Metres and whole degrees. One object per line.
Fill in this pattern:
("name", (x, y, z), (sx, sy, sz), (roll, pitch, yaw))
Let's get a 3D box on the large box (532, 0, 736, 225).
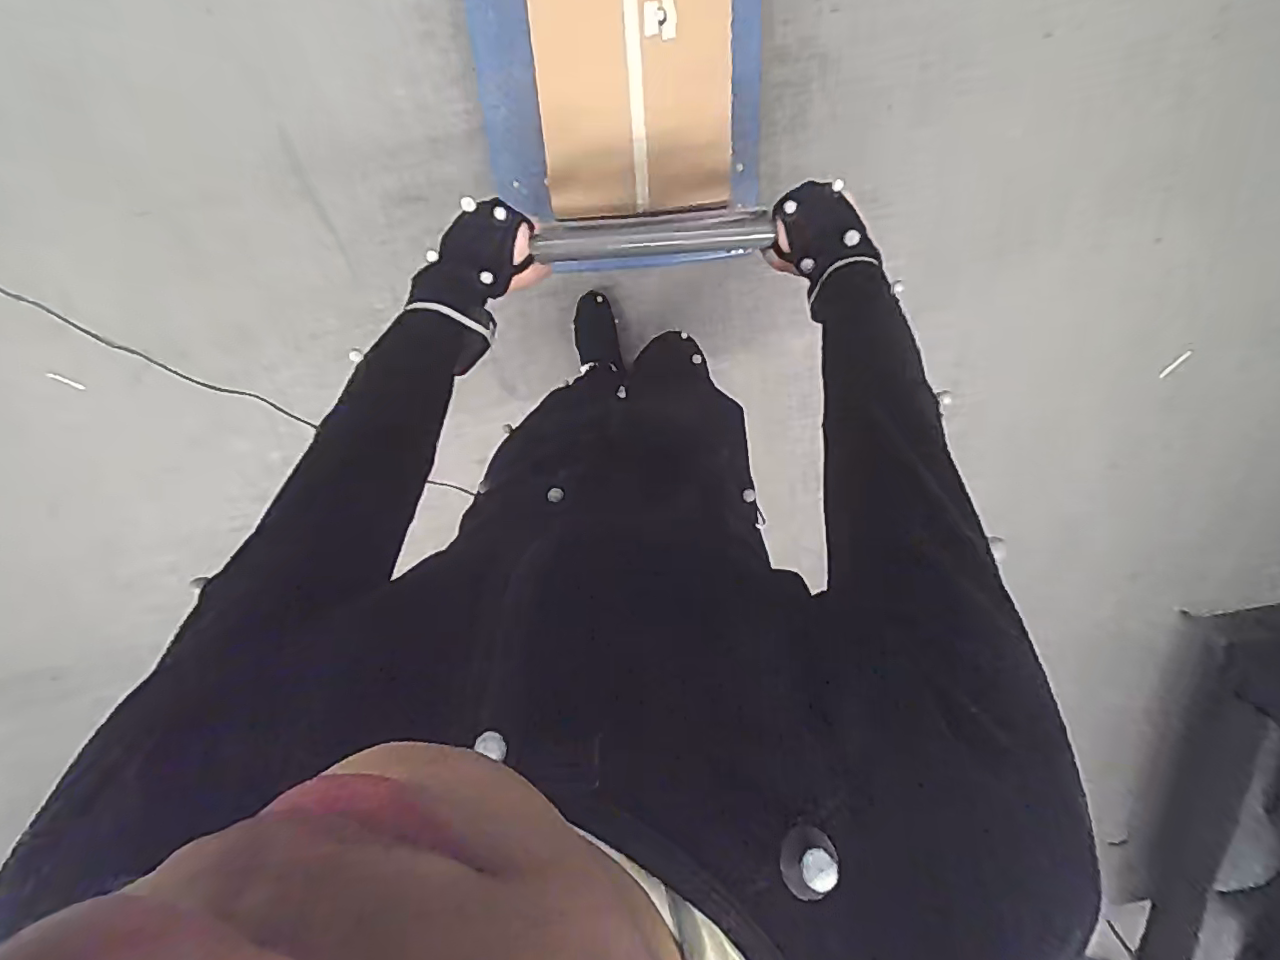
("large box", (-0.006, -0.707, 0.999), (0.320, 0.320, 0.408), (-4, 114, 0))
